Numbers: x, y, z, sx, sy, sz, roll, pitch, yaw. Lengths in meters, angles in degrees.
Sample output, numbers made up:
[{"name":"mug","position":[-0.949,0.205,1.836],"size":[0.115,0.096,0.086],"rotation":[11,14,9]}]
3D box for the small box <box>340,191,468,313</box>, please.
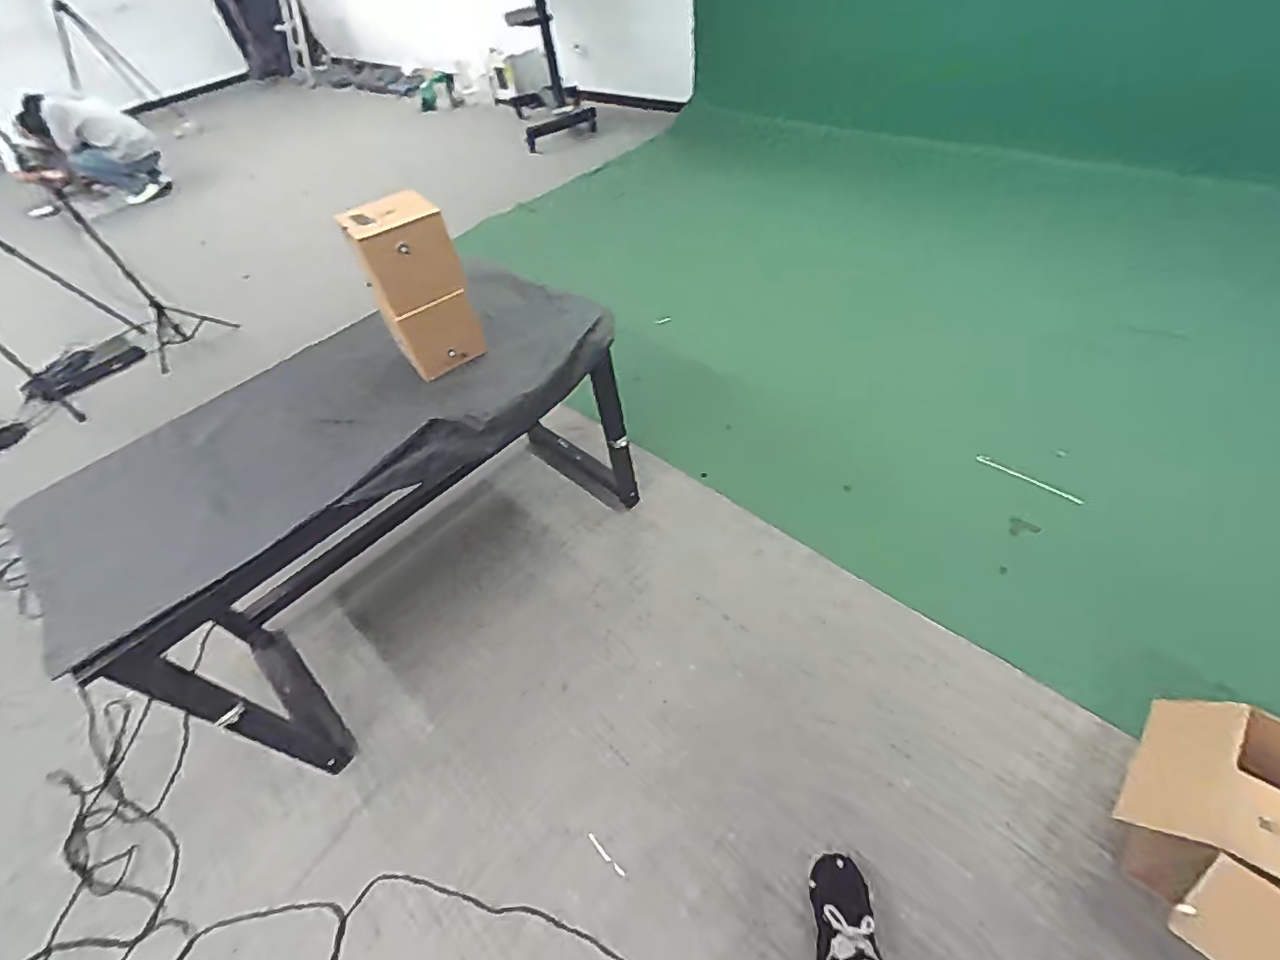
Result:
[{"name":"small box","position":[-0.503,-0.489,1.169],"size":[0.179,0.176,0.168],"rotation":[-33,53,-19]}]
